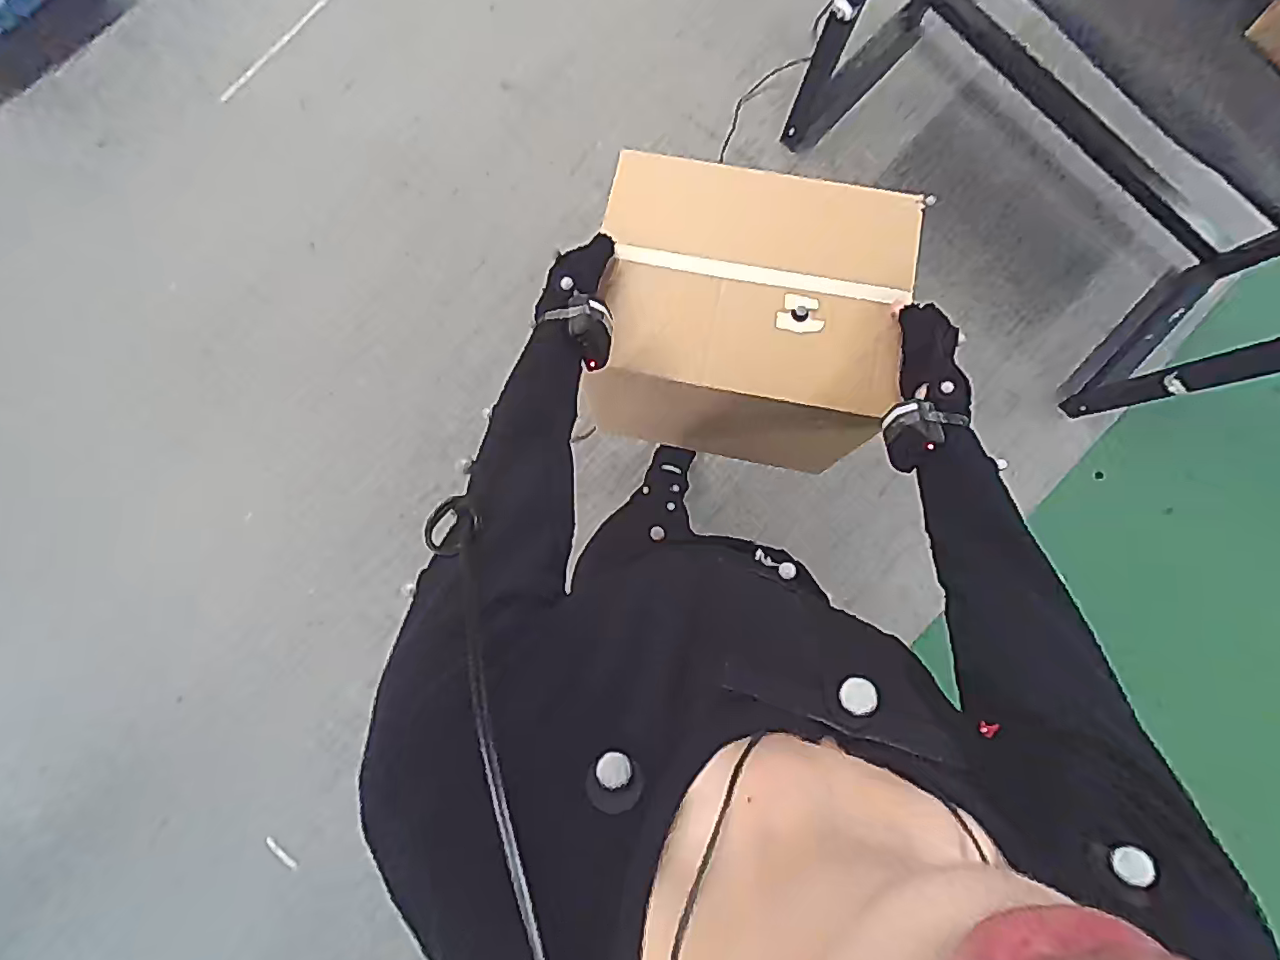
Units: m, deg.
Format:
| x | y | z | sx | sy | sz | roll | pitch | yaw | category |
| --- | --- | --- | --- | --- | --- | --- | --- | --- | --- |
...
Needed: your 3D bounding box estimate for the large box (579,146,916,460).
| x | y | z | sx | sy | sz | roll | pitch | yaw | category |
| --- | --- | --- | --- | --- | --- | --- | --- | --- | --- |
| 0.143 | -0.242 | 0.837 | 0.408 | 0.320 | 0.320 | 11 | 79 | 2 | large box |
